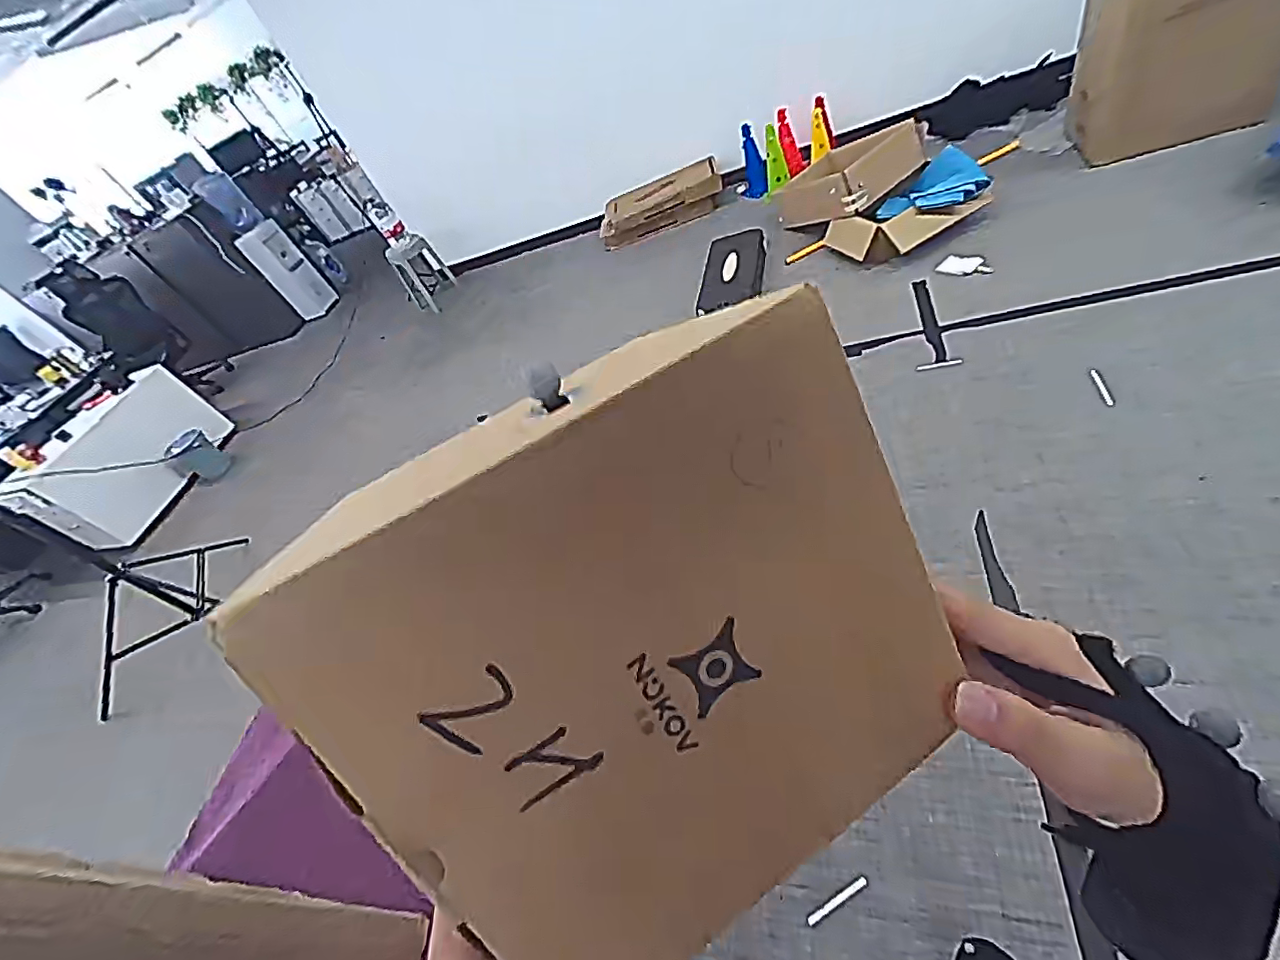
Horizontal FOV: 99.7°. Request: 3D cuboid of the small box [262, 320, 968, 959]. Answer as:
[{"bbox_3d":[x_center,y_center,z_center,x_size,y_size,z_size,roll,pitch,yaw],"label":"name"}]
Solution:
[{"bbox_3d":[-0.008,0.051,0.240,0.179,0.168,0.176,-31,15,-11],"label":"small box"}]
